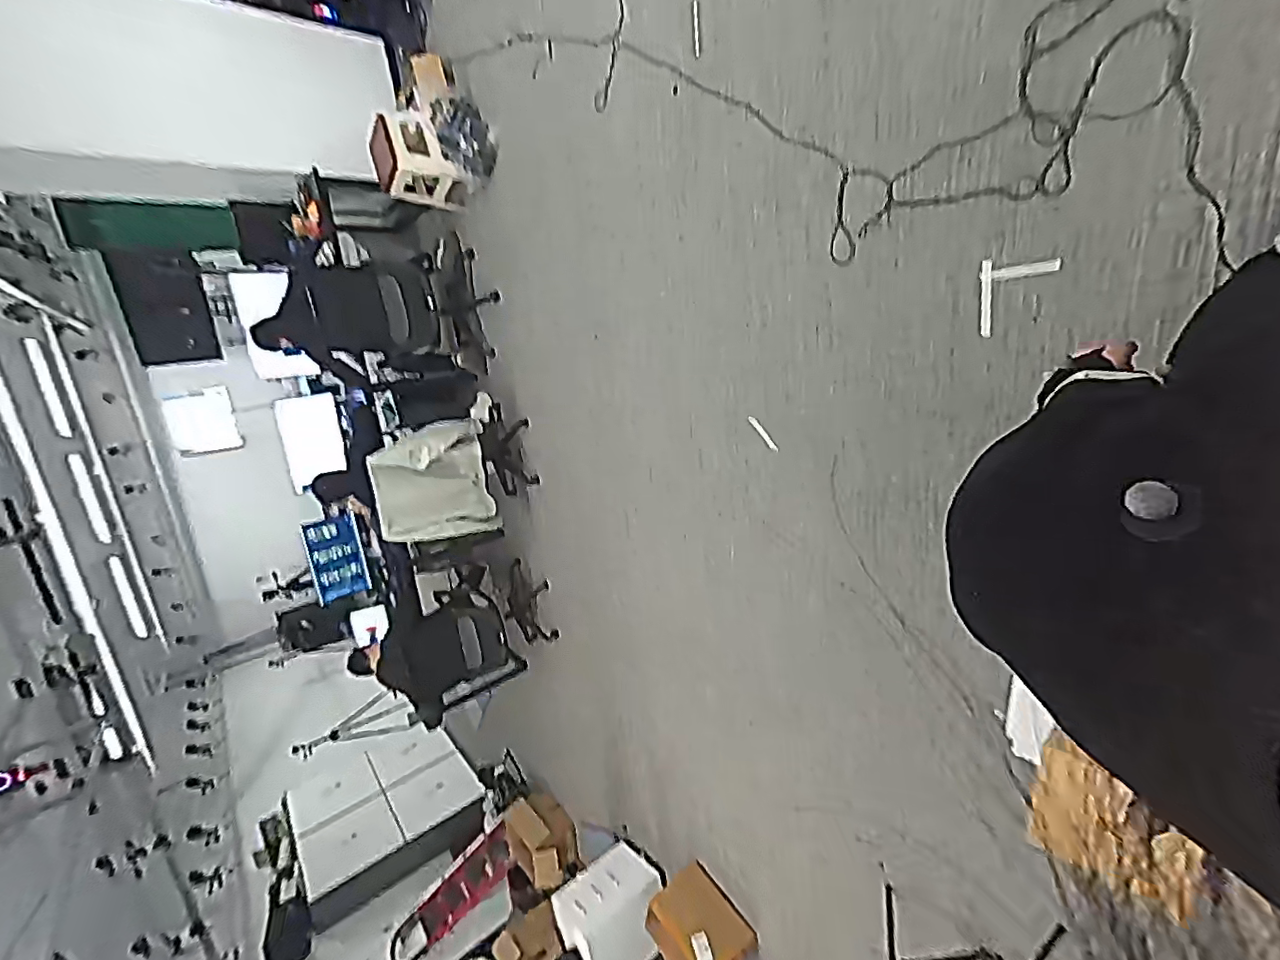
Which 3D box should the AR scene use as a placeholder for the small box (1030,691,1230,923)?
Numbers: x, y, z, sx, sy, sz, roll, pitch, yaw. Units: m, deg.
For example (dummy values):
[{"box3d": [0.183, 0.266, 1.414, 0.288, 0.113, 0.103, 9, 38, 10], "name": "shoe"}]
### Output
[{"box3d": [0.671, 0.428, 0.744, 0.168, 0.176, 0.179, 16, 116, 49], "name": "small box"}]
